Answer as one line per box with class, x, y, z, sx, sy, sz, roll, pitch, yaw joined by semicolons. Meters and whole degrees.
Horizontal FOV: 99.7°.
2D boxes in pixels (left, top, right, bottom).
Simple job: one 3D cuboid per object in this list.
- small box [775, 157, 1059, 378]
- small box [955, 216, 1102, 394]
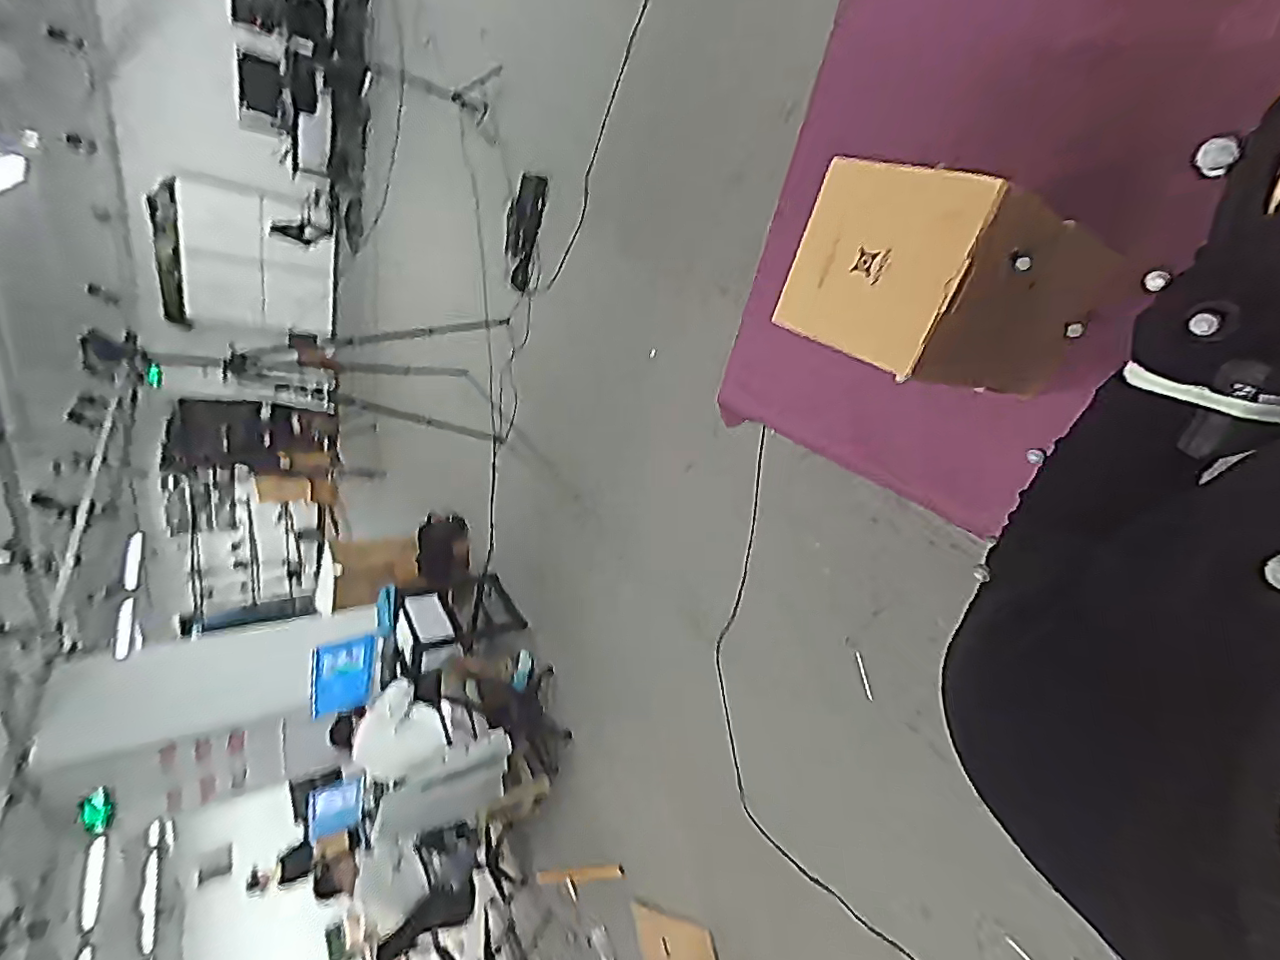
small box;0.283;-0.213;0.565;0.179;0.176;0.168;44;126;43
small box;0.416;-0.218;0.661;0.168;0.176;0.179;42;124;44
